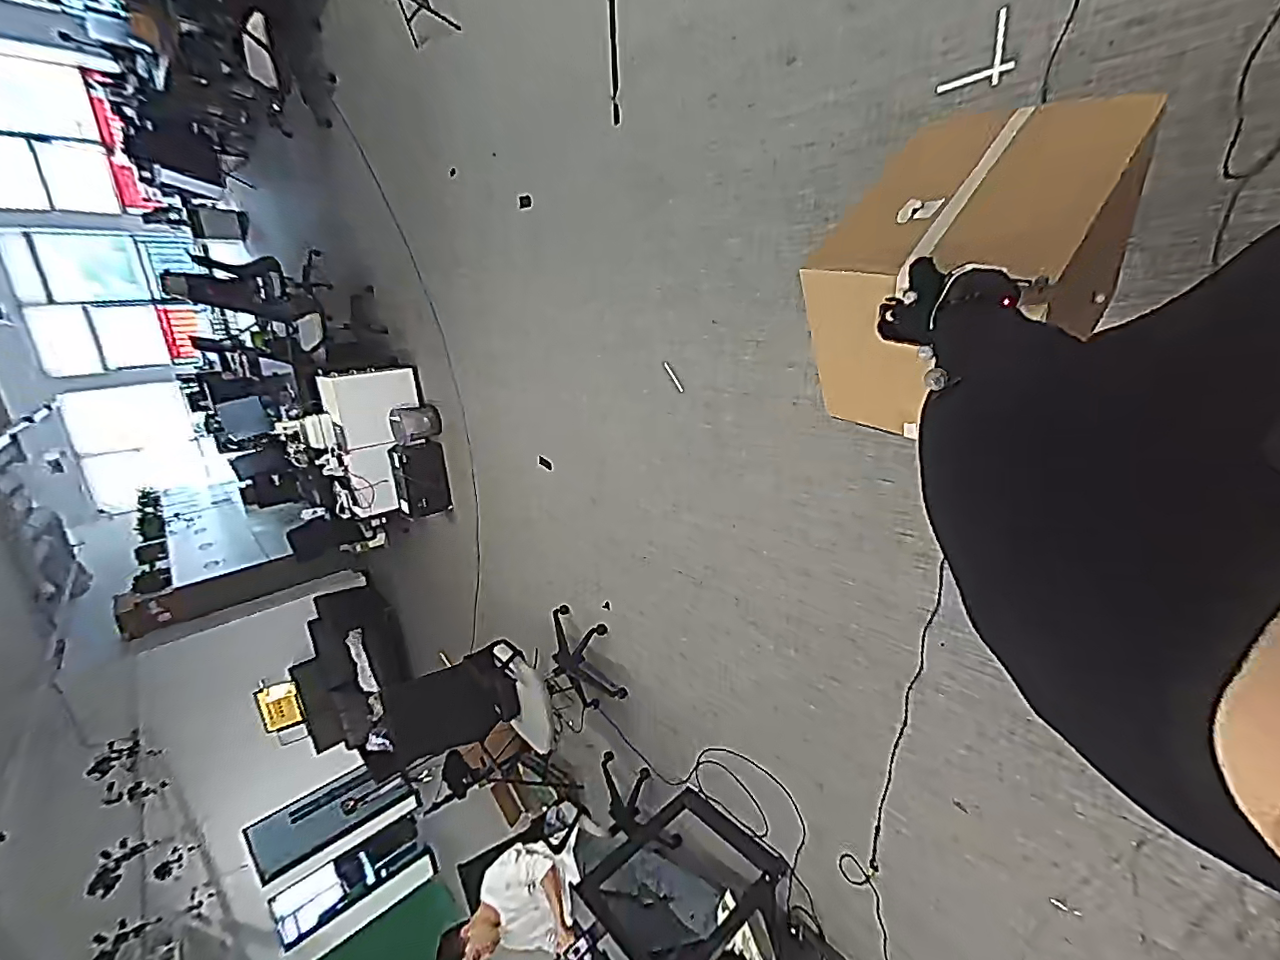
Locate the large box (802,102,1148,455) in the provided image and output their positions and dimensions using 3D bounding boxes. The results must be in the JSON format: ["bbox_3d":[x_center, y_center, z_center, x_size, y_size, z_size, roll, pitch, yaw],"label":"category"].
[{"bbox_3d":[0.513,-0.313,0.859,0.320,0.408,0.320,23,157,41],"label":"large box"}]
